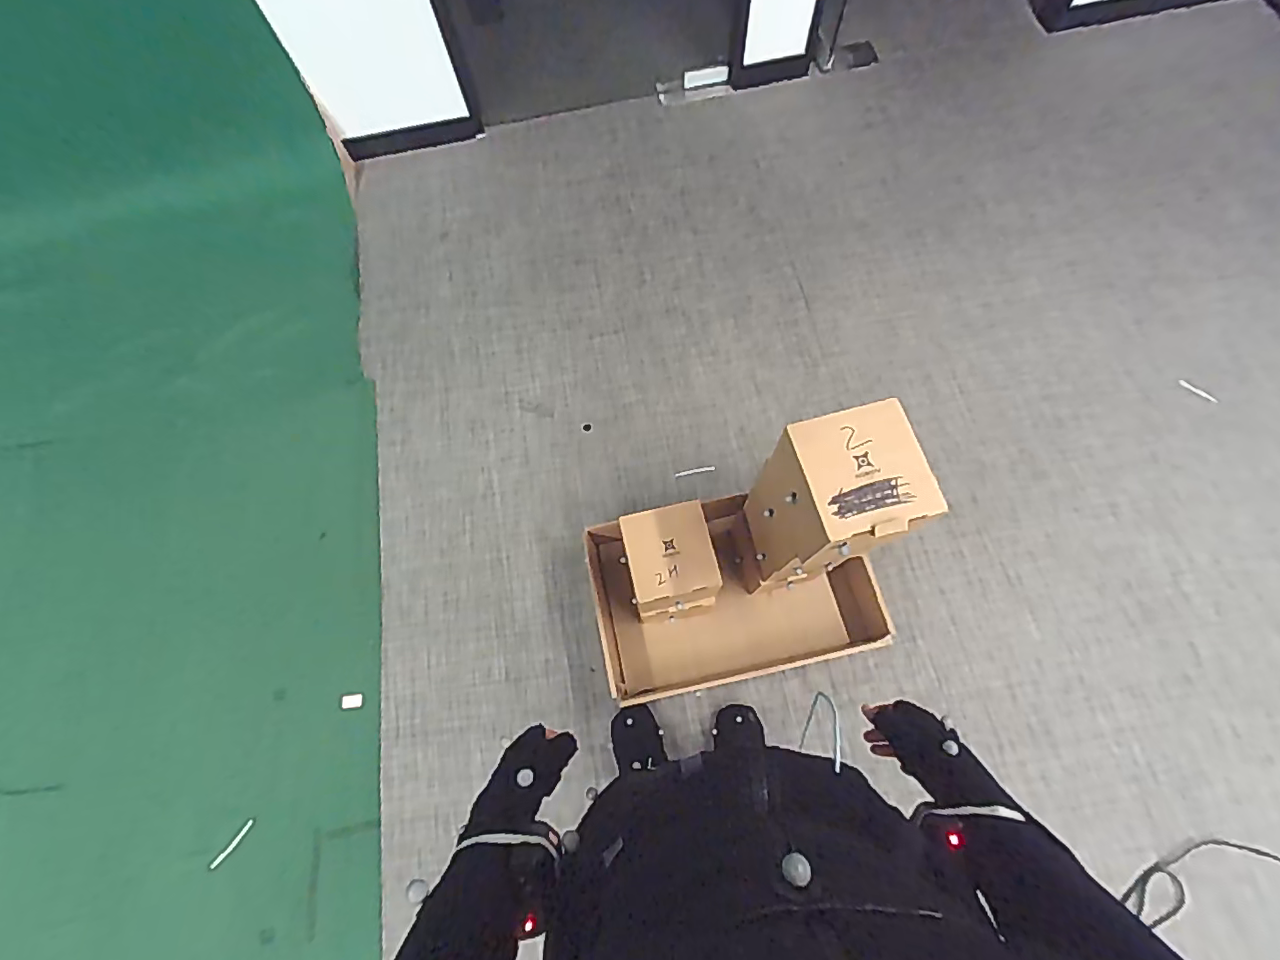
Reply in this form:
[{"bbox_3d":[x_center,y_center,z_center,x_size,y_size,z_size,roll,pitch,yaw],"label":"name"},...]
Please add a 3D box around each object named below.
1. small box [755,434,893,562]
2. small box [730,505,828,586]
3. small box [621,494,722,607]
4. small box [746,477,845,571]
[{"bbox_3d":[0.315,0.042,0.964,0.168,0.176,0.179,-12,71,-1],"label":"small box"},{"bbox_3d":[0.321,0.145,1.276,0.168,0.176,0.179,-17,71,-1],"label":"small box"},{"bbox_3d":[0.060,0.150,1.112,0.168,0.176,0.179,-13,71,-2],"label":"small box"},{"bbox_3d":[0.323,0.082,1.106,0.168,0.176,0.179,-13,71,-1],"label":"small box"}]
